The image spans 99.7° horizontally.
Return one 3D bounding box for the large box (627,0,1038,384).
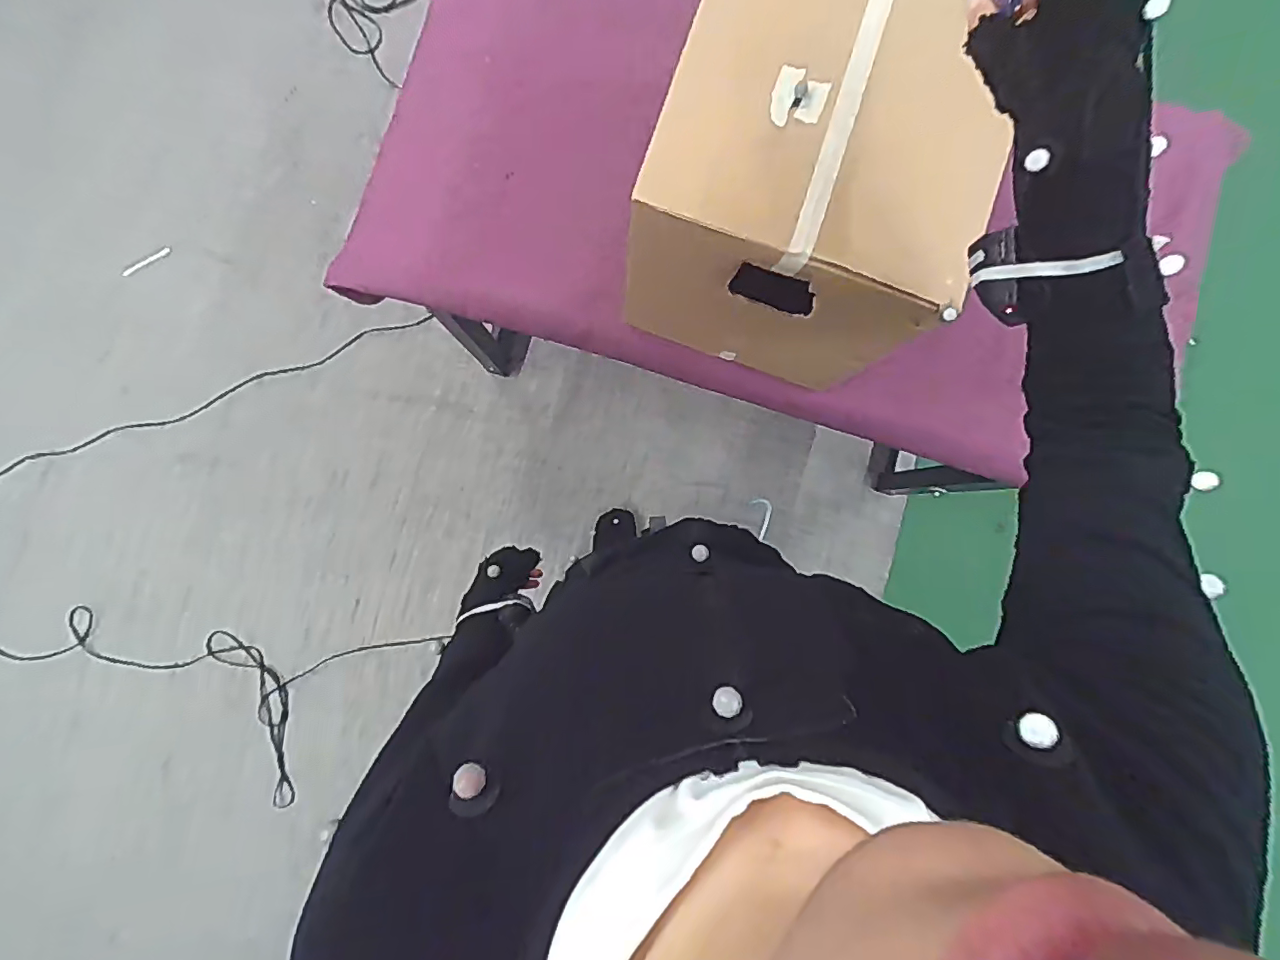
[{"bbox_3d":[0.192,-0.382,0.659,0.320,0.320,0.408,19,86,-1],"label":"large box"}]
